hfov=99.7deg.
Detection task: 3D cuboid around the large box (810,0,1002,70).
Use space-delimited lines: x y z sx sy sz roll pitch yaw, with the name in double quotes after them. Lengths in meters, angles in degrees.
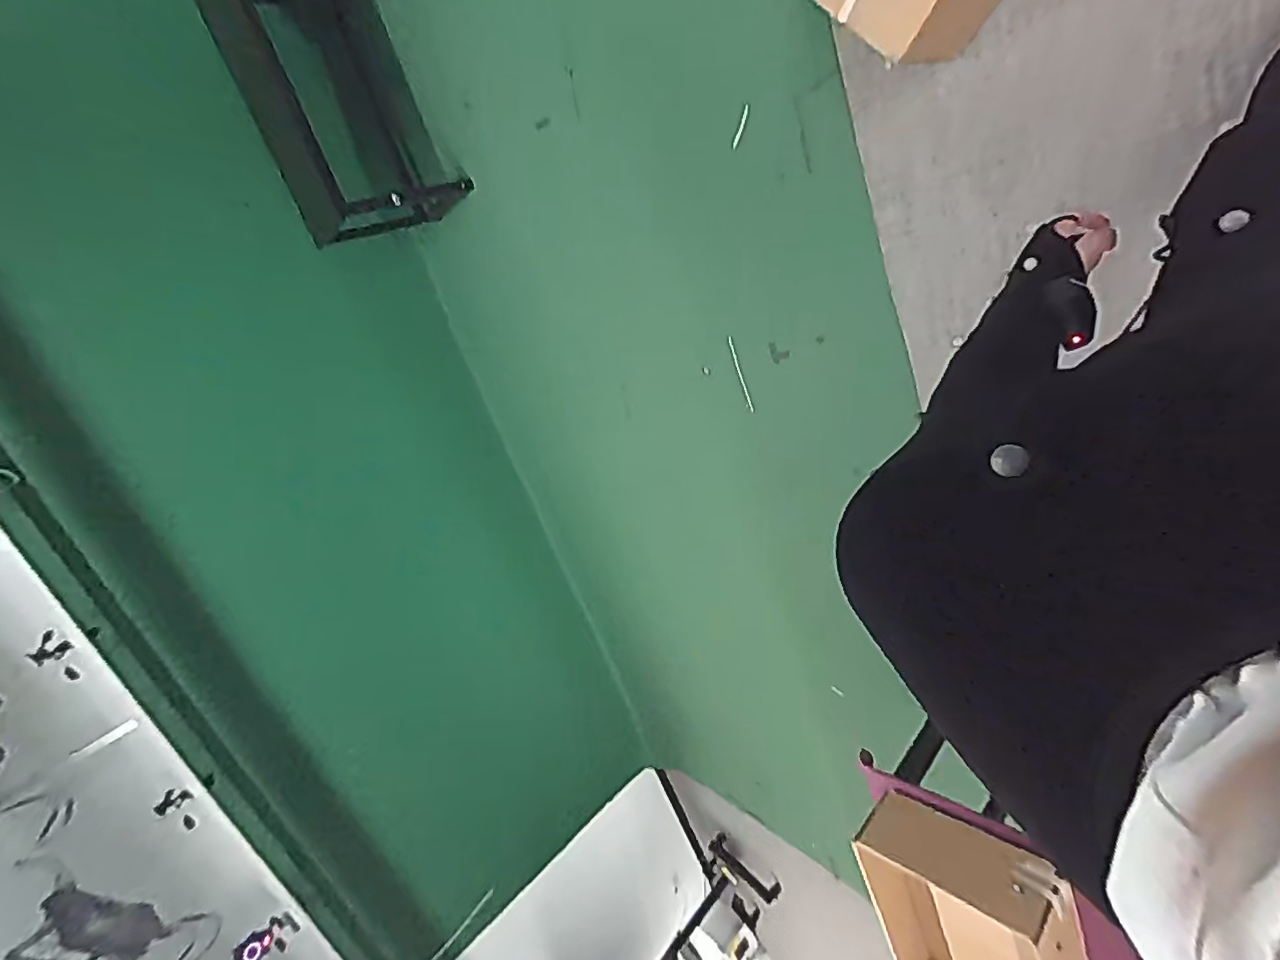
0.586 -1.096 1.026 0.320 0.320 0.408 51 148 13 "large box"
